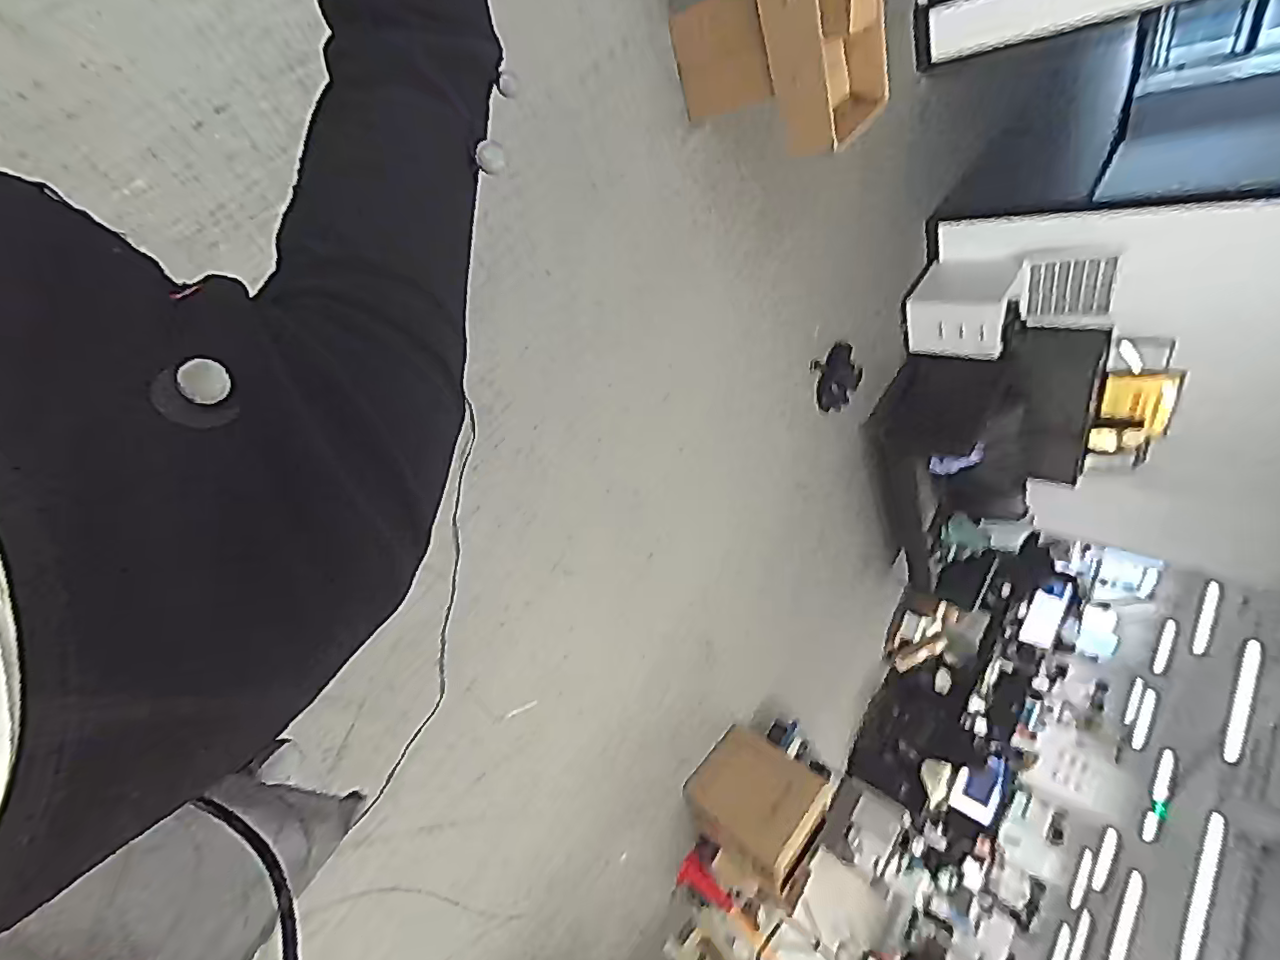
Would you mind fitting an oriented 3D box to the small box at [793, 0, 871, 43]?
[{"bbox_3d":[0.566,-1.437,1.604,0.179,0.176,0.168,-50,137,-26],"label":"small box"}]
